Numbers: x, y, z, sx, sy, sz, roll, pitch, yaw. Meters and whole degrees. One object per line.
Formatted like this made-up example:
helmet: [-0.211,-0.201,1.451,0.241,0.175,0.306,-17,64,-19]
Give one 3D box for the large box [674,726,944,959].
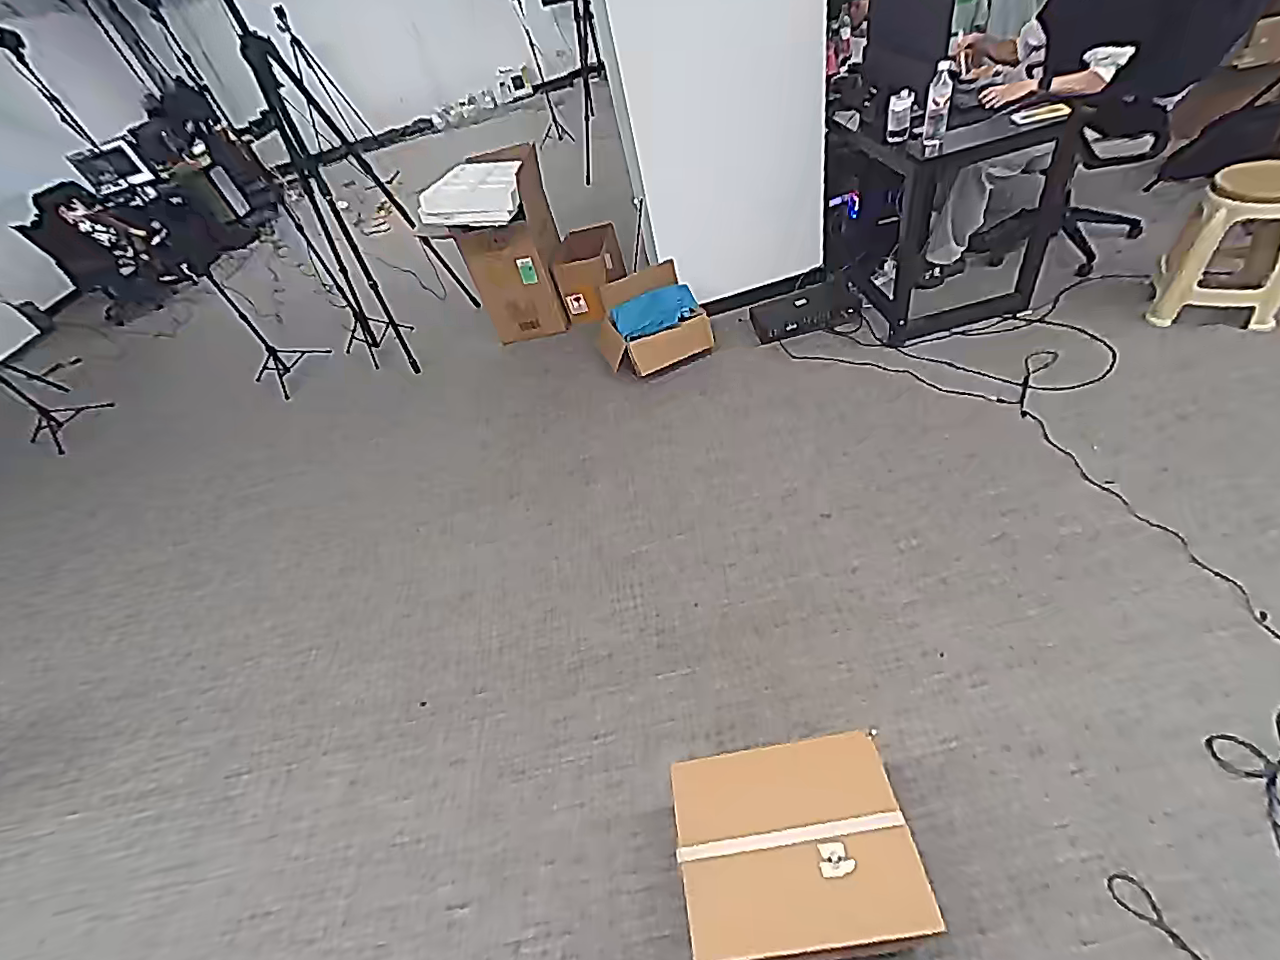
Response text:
large box: [0.307,0.741,1.078,0.408,0.320,0.320,-13,45,5]
